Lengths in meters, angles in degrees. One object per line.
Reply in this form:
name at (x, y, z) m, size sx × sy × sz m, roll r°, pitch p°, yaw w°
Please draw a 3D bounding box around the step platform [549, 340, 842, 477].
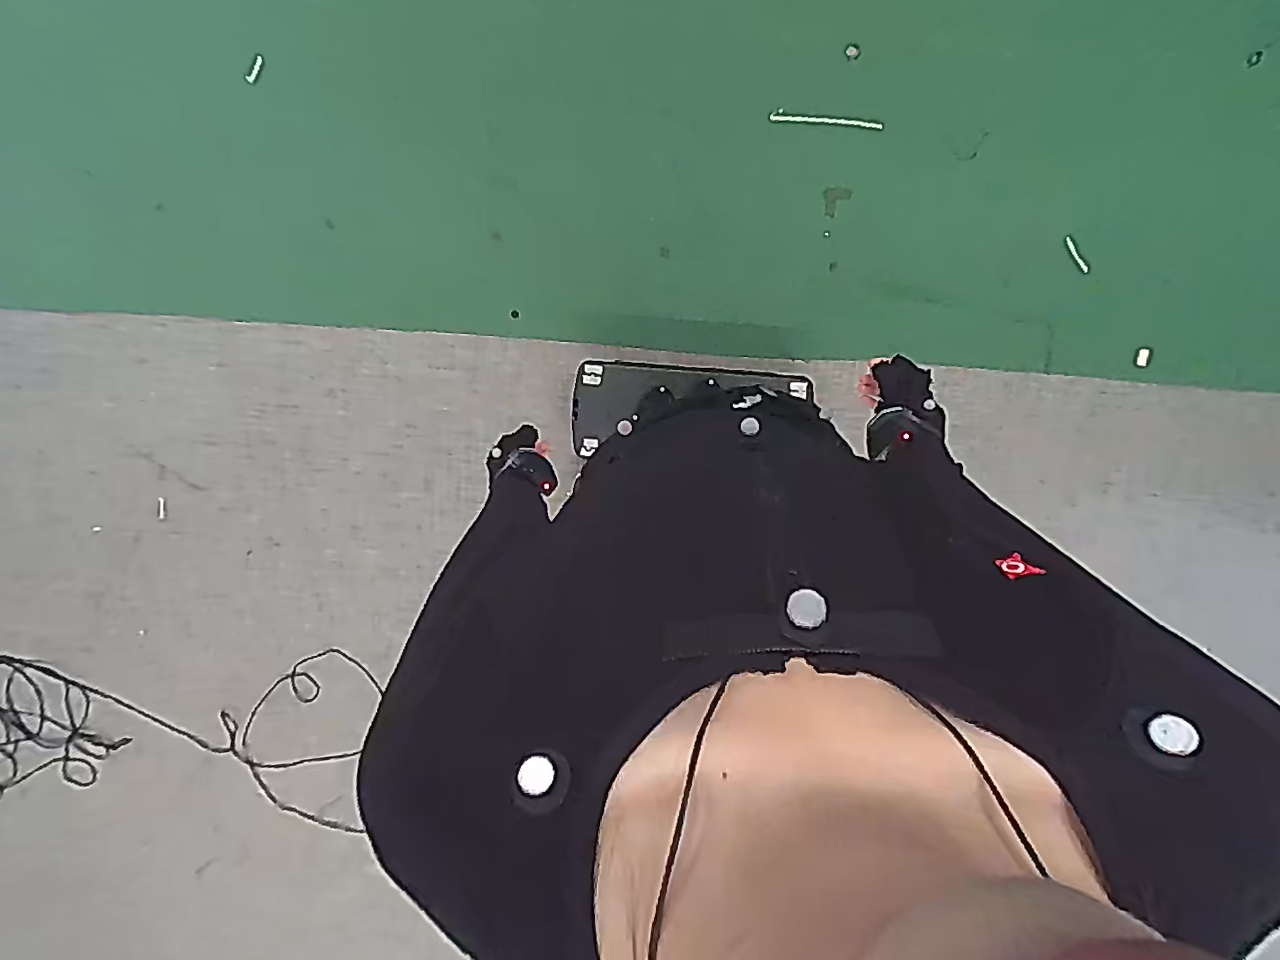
step platform at (0.128, -0.181, 1.353) m, size 0.684 × 0.204 × 0.286 m, roll 4°, pitch 101°, yaw 1°
